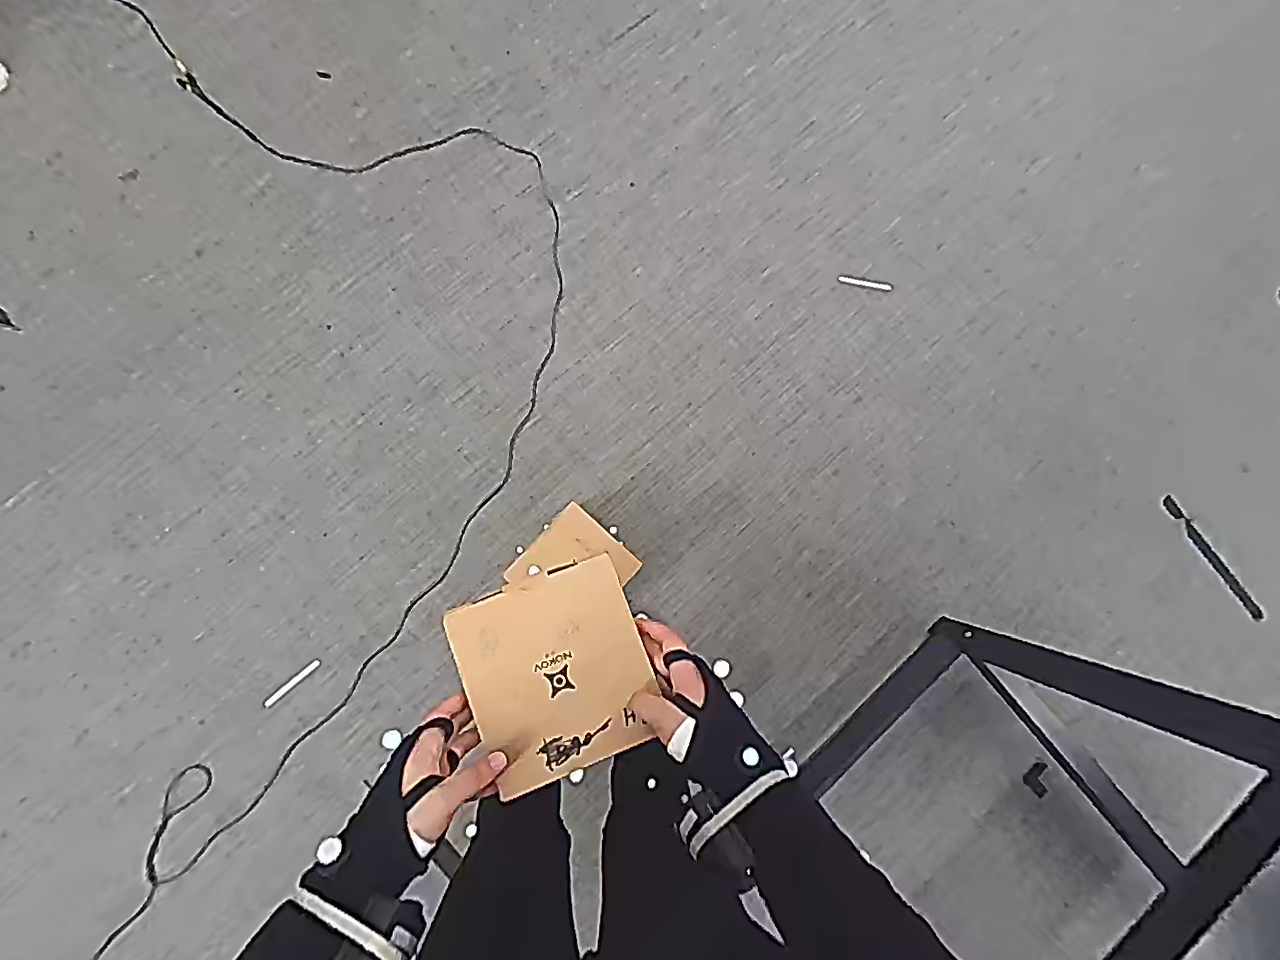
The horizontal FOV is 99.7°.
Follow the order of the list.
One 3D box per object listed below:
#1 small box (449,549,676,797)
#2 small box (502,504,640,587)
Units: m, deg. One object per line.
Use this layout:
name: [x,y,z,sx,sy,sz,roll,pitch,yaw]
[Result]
small box: [-0.078,0.189,0.576,0.168,0.176,0.179,-22,82,-7]
small box: [-0.122,0.163,0.988,0.168,0.176,0.179,42,82,-2]
